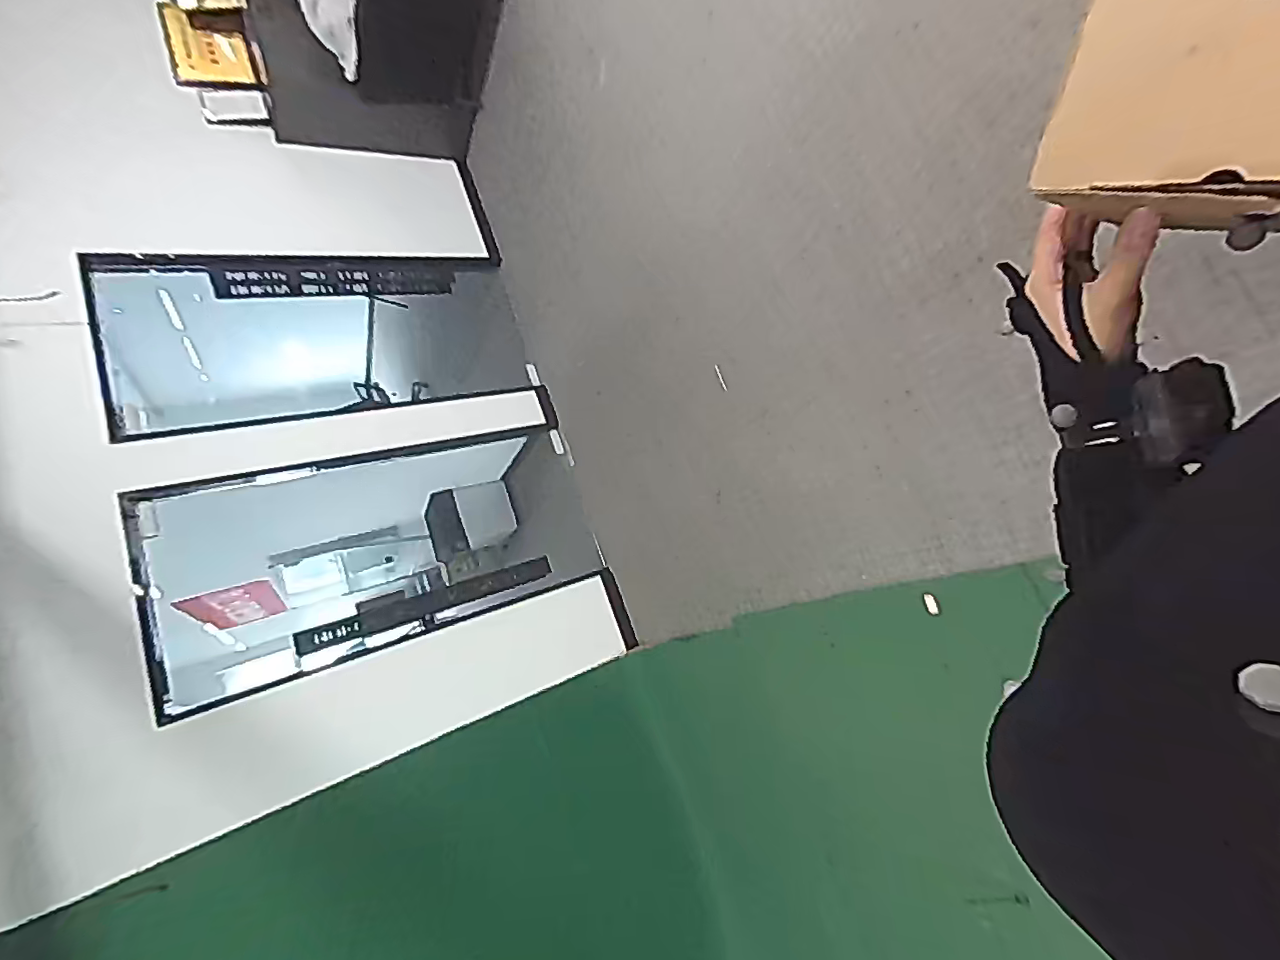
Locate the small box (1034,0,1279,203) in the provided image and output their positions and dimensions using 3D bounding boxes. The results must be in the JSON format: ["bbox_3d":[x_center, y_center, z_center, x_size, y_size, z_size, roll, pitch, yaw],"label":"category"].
[{"bbox_3d":[0.346,-0.237,0.264,0.168,0.176,0.179,34,127,48],"label":"small box"}]
